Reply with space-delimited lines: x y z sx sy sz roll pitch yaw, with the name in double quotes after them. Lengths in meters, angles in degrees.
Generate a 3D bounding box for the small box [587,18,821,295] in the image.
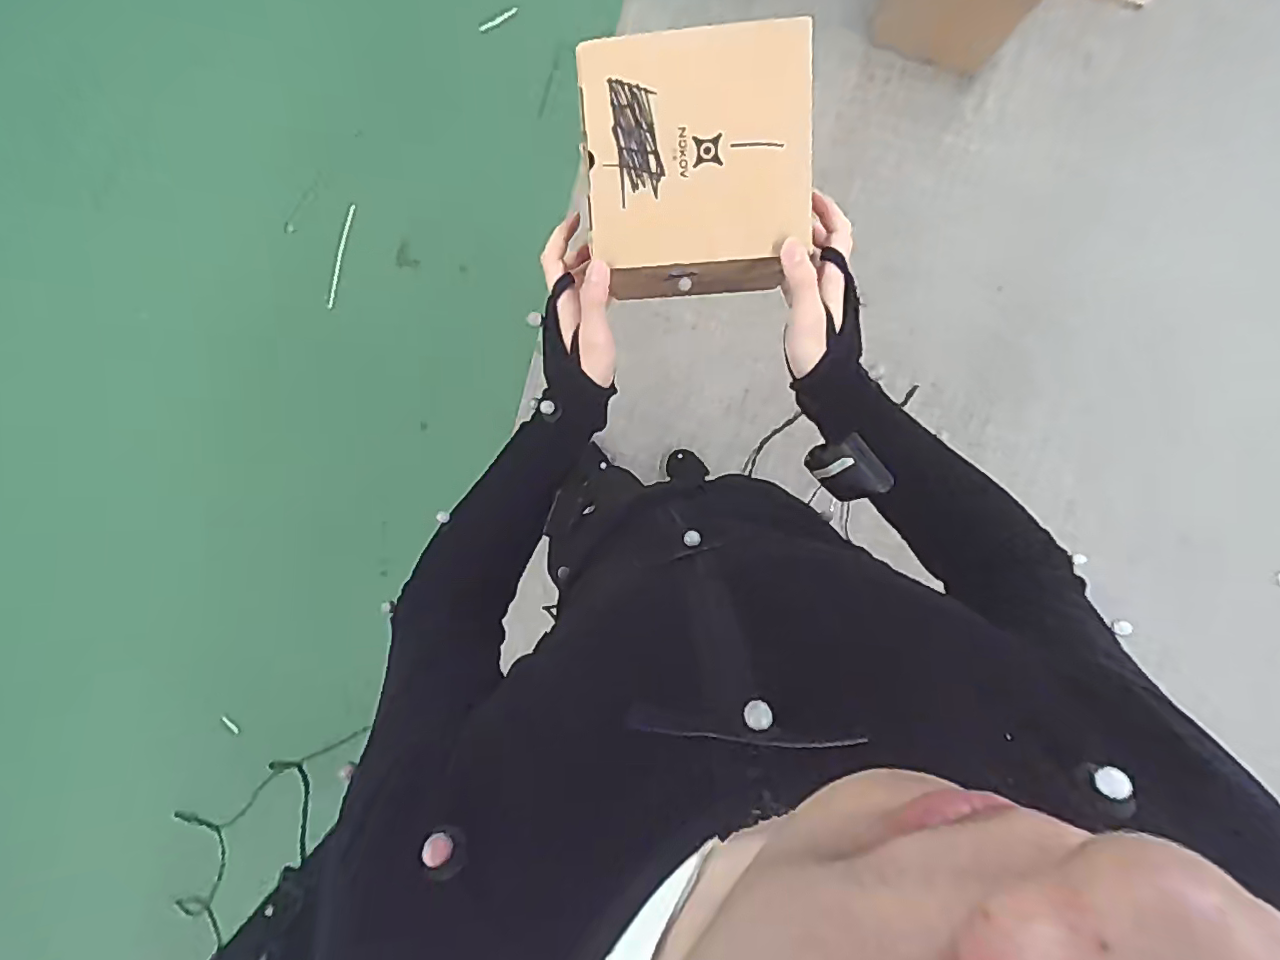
0.054 -0.269 0.492 0.179 0.176 0.168 -2 100 4 "small box"
